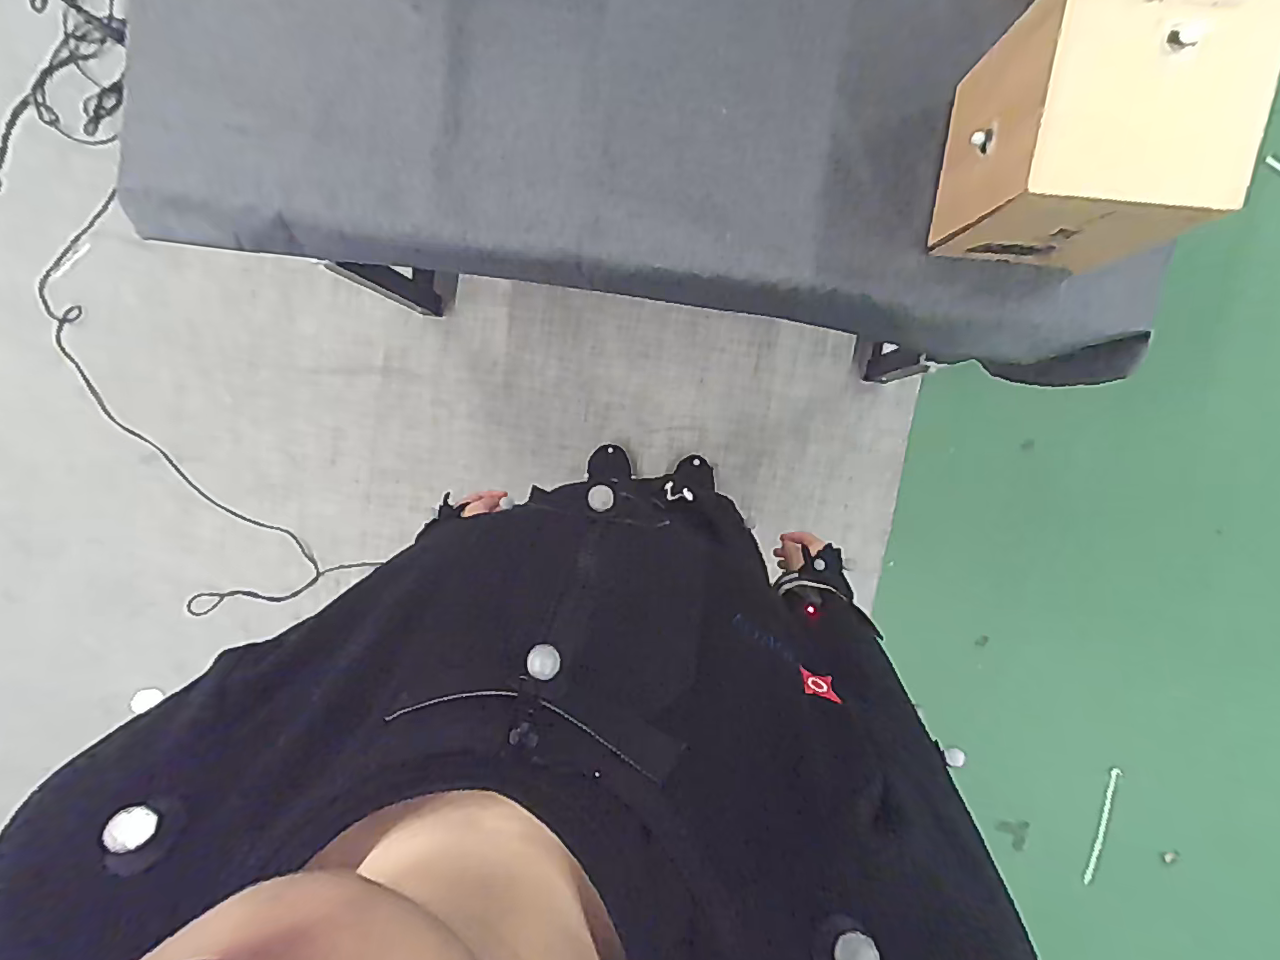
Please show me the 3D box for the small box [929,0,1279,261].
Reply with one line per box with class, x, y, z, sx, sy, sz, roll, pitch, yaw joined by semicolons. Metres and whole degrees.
small box;0.400;-0.315;0.492;0.168;0.179;0.176;6;99;3
